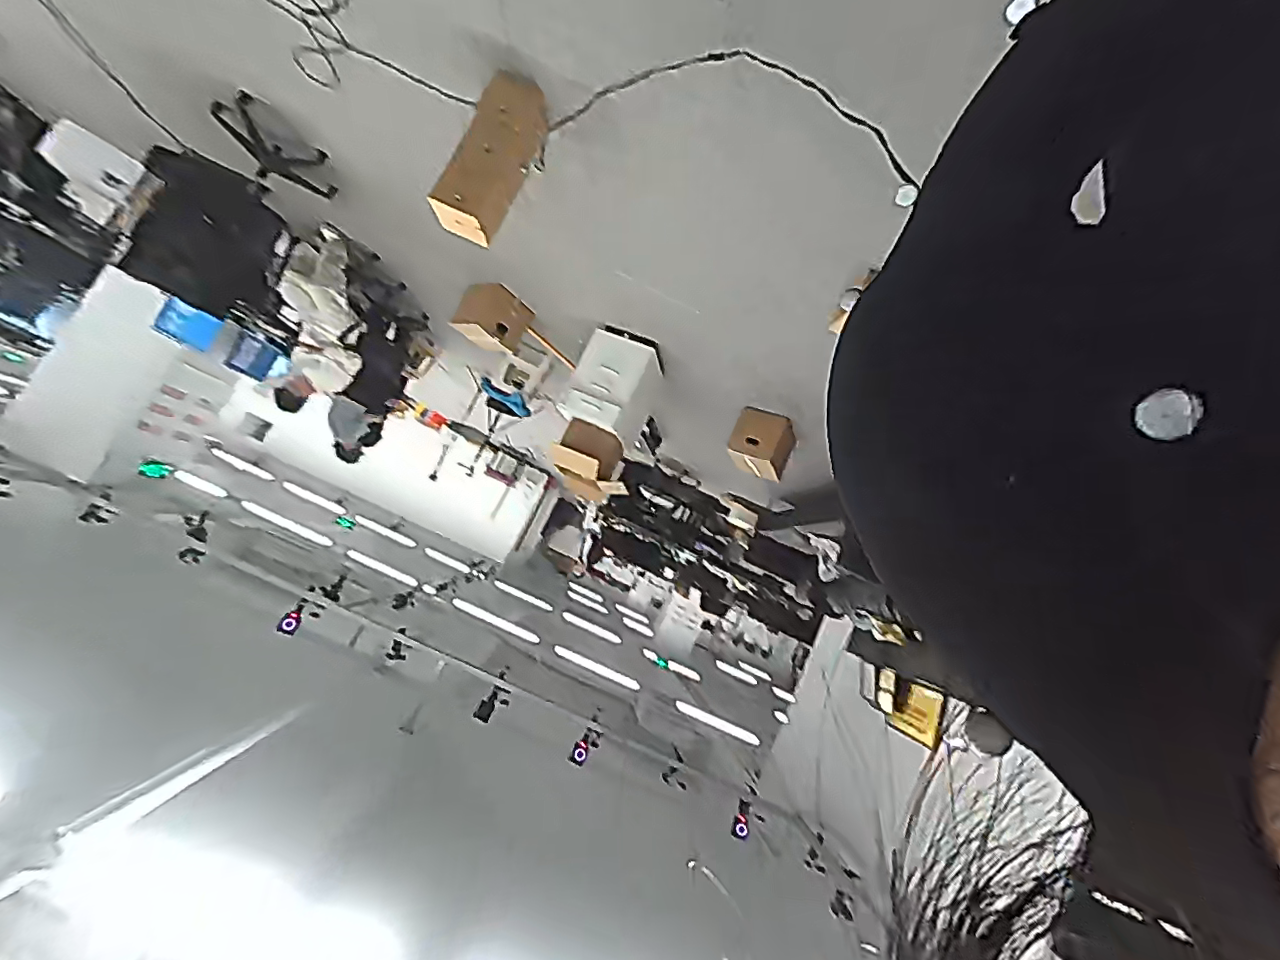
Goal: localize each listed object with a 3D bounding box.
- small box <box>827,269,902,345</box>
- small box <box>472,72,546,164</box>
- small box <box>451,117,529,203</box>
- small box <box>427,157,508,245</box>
[{"bbox_3d":[0.807,-0.618,1.933,0.168,0.176,0.179,26,171,-4],"label":"small box"},{"bbox_3d":[-0.432,-1.224,1.827,0.179,0.176,0.168,25,171,4],"label":"small box"},{"bbox_3d":[-0.499,-1.074,1.820,0.179,0.176,0.168,25,172,1],"label":"small box"},{"bbox_3d":[-0.563,-0.927,1.789,0.179,0.176,0.168,24,171,2],"label":"small box"}]
